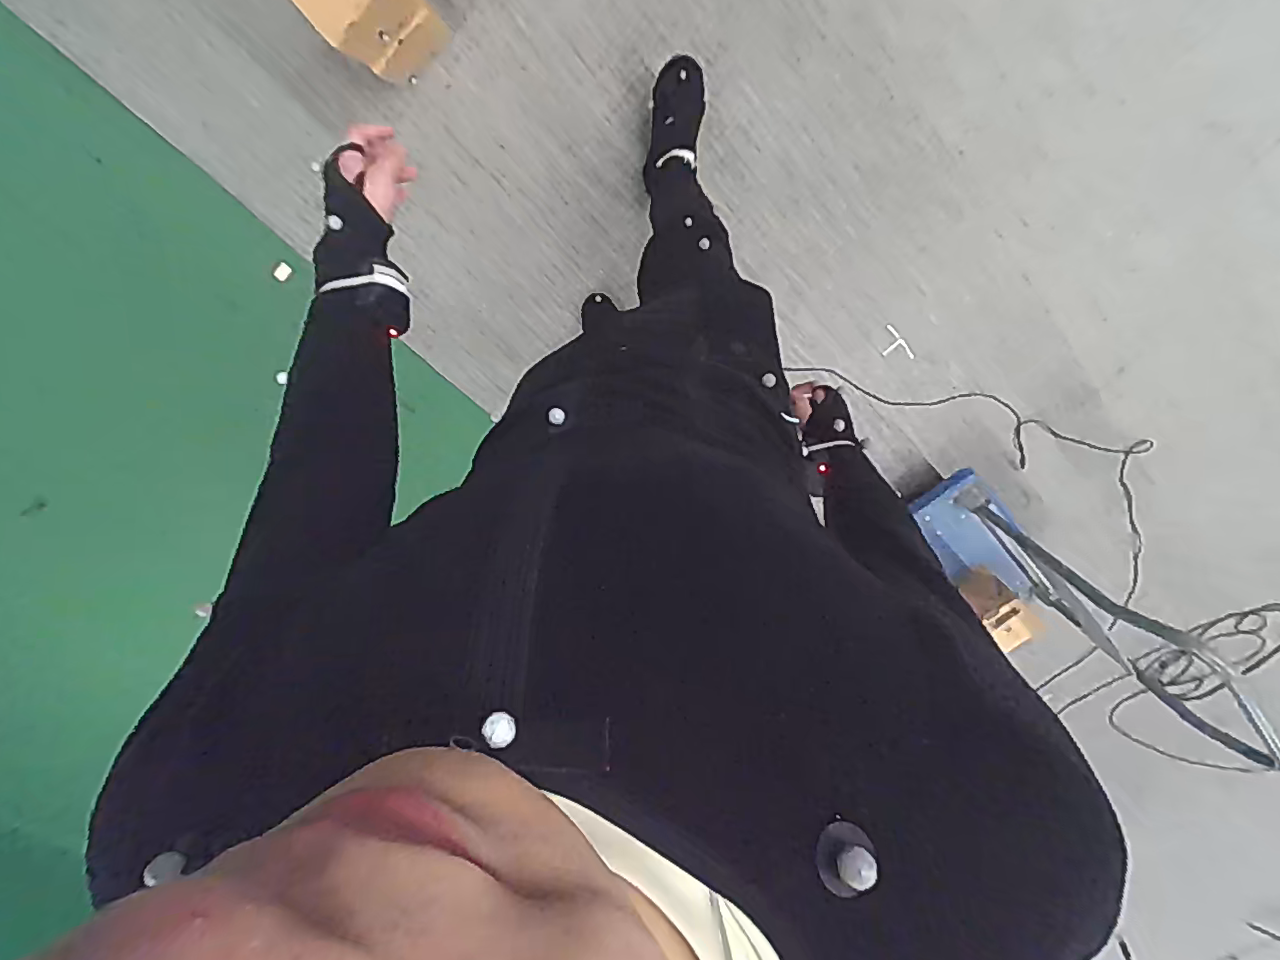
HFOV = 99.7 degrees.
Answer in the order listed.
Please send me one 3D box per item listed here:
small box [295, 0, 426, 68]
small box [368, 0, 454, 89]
[{"bbox_3d":[-0.528,-0.900,0.978,0.168,0.176,0.179,-37,113,16],"label":"small box"},{"bbox_3d":[-0.525,-0.969,1.143,0.168,0.176,0.179,-37,112,16],"label":"small box"}]
